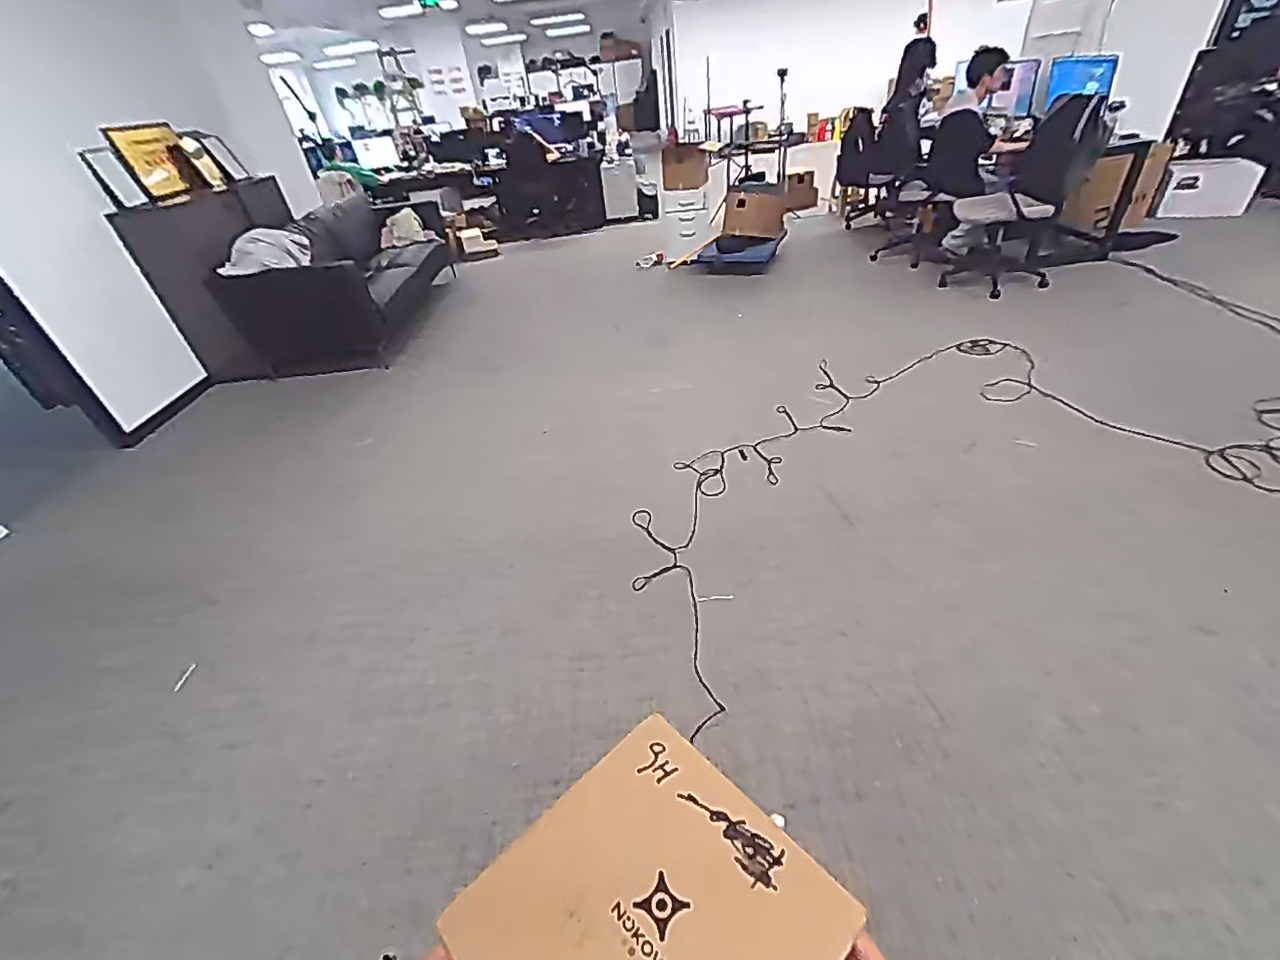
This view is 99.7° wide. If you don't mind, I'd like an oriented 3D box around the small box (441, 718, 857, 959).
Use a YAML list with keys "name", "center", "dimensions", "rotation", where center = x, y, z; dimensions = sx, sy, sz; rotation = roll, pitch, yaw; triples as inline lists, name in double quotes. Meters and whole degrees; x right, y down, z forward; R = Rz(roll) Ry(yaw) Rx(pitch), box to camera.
- name: "small box"
  center: [0.009, 0.305, 0.346]
  dimensions: [0.179, 0.176, 0.168]
  rotation: [-32, 46, -32]
